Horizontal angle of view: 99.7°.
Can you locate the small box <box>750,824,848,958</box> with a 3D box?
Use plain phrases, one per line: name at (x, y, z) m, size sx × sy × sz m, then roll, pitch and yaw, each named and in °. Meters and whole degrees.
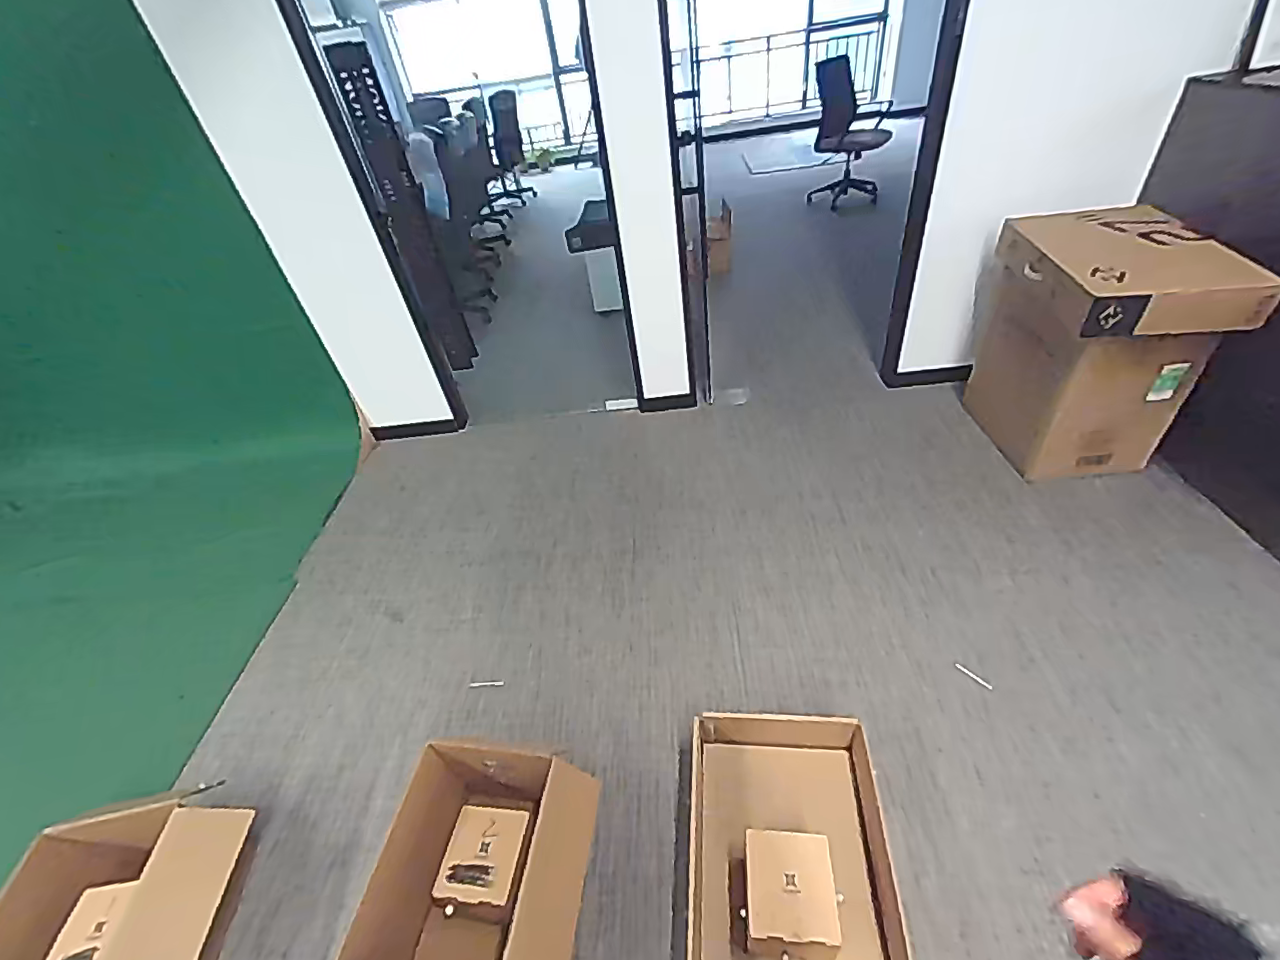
small box at (0.310, 0.826, 1.089) m, size 0.168 × 0.176 × 0.179 m, roll -2°, pitch 41°, yaw 9°
